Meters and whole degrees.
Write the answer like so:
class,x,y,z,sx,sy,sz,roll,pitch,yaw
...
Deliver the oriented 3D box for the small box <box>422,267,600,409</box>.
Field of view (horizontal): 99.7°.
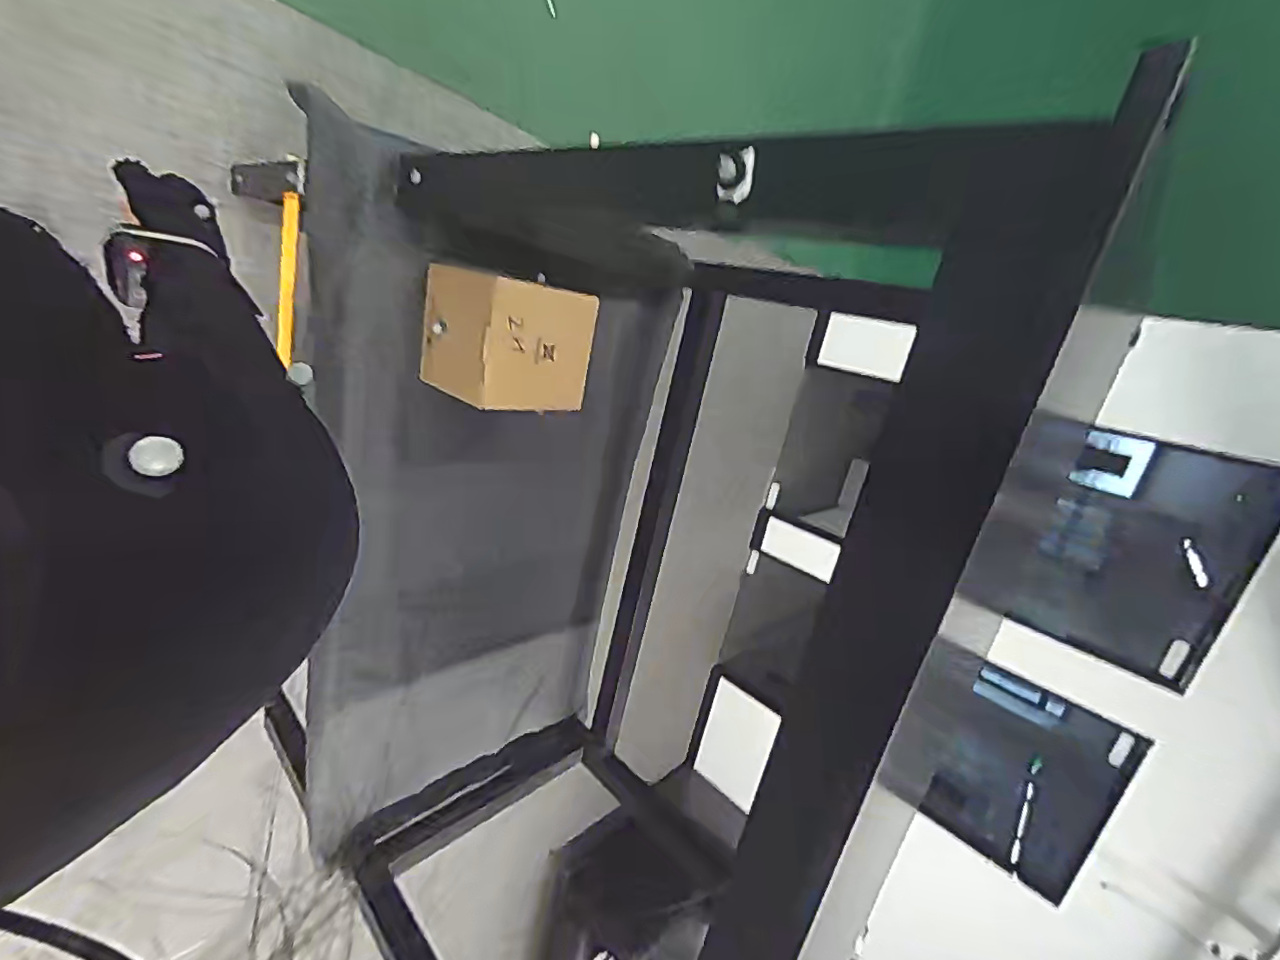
class,x,y,z,sx,sy,sz,roll,pitch,yaw
small box,-0.189,-0.205,0.788,0.179,0.176,0.168,-8,116,-48
